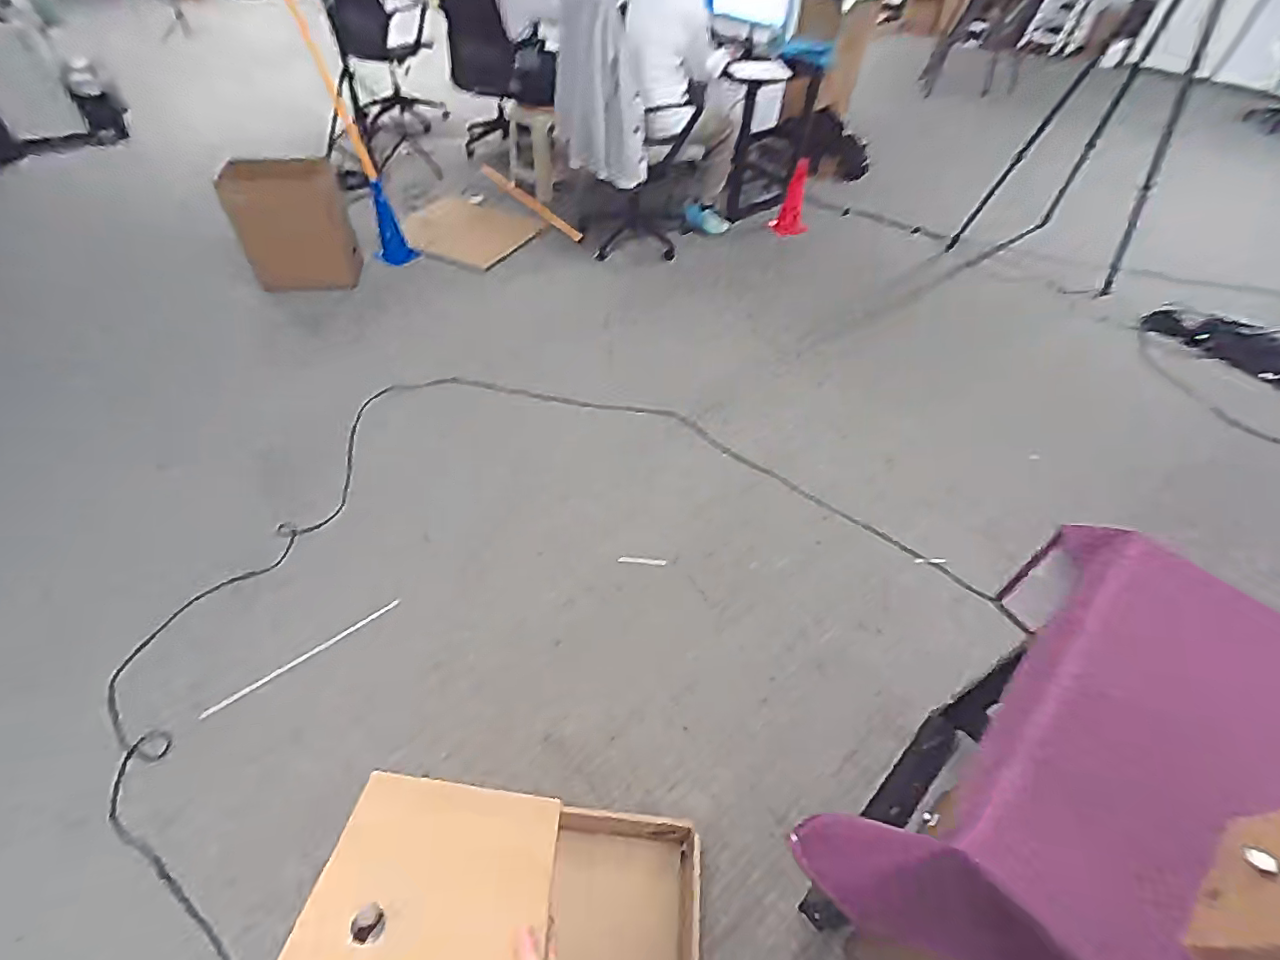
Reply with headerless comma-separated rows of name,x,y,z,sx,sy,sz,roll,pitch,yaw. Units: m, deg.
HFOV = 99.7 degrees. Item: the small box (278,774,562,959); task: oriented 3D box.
small box,-0.170,0.374,0.439,0.179,0.168,0.176,14,19,-8
